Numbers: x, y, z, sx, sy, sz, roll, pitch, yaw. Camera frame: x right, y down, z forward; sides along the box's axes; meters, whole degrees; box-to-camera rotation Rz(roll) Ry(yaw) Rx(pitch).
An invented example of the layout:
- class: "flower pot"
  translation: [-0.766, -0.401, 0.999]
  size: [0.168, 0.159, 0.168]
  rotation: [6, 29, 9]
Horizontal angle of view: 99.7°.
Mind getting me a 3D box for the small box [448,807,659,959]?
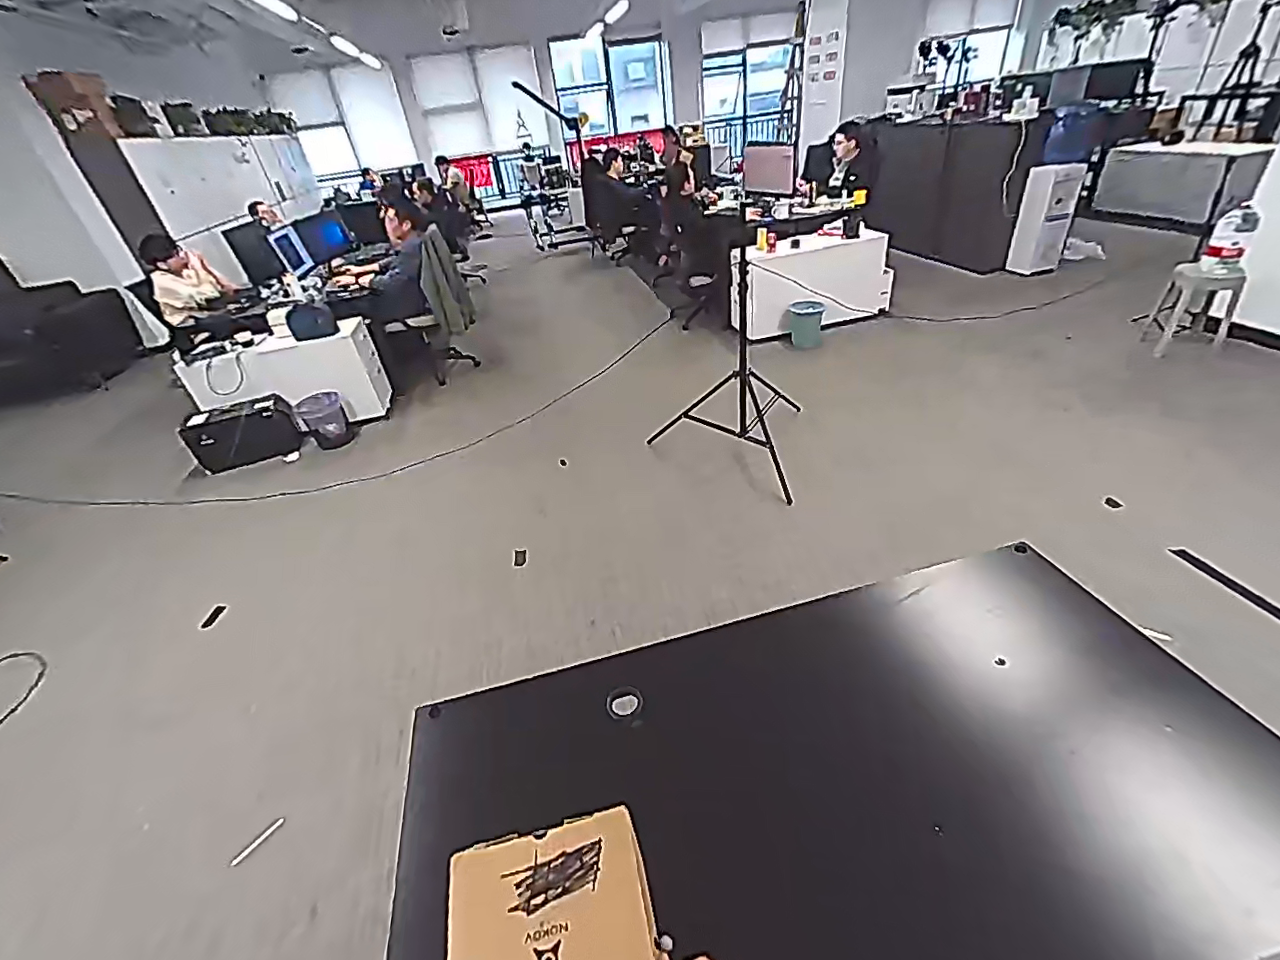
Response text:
- class: "small box"
  translation: [-0.069, 0.442, 0.493]
  size: [0.168, 0.176, 0.179]
  rotation: [-13, 40, -6]
